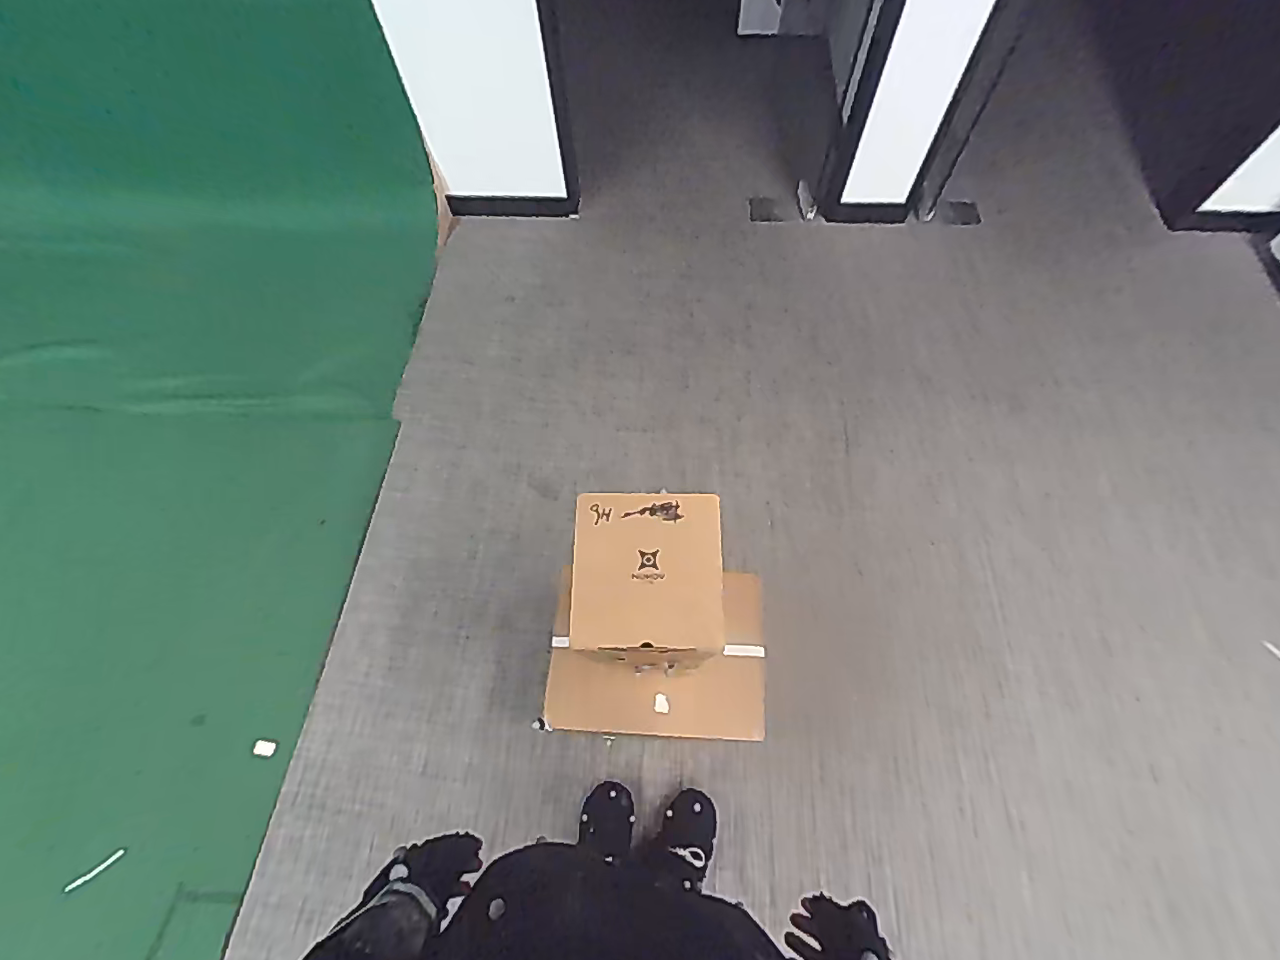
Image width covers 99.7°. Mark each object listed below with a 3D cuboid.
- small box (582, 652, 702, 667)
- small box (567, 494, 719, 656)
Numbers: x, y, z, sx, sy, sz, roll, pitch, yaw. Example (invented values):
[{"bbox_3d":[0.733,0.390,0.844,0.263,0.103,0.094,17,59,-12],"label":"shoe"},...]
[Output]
[{"bbox_3d":[0.009,0.188,0.825,0.168,0.176,0.179,2,68,1],"label":"small box"},{"bbox_3d":[0.008,0.126,0.674,0.168,0.176,0.179,1,70,1],"label":"small box"}]
